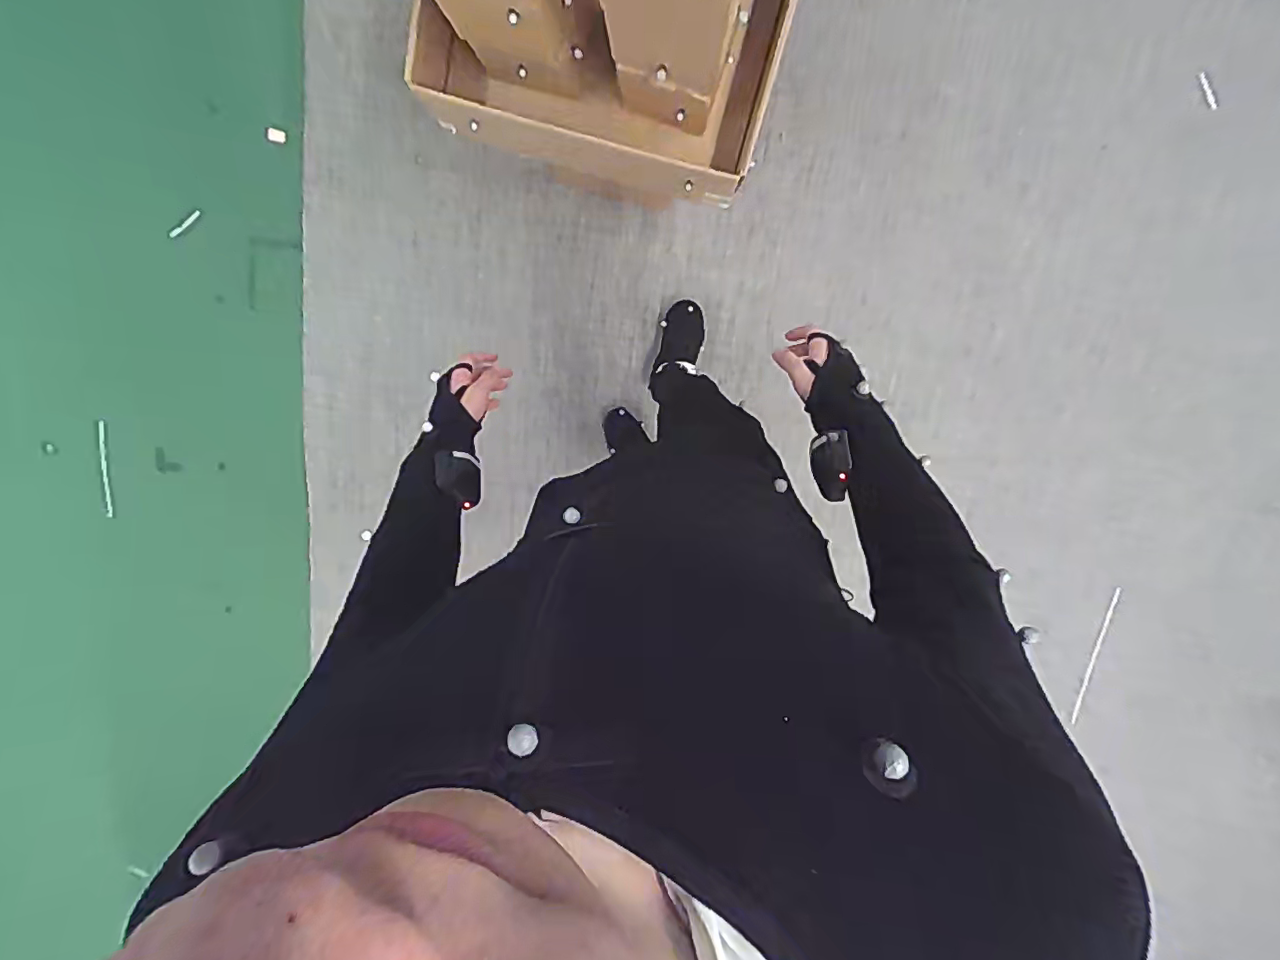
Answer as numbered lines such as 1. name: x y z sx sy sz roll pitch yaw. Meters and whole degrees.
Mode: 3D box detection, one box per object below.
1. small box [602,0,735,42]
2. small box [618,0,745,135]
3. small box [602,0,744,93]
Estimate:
1. small box: 0.047 -0.661 0.632 0.179 0.176 0.168 16 105 0
2. small box: 0.073 -0.746 0.948 0.168 0.176 0.179 20 105 -1
3. small box: 0.059 -0.707 0.790 0.179 0.176 0.168 19 105 -2
